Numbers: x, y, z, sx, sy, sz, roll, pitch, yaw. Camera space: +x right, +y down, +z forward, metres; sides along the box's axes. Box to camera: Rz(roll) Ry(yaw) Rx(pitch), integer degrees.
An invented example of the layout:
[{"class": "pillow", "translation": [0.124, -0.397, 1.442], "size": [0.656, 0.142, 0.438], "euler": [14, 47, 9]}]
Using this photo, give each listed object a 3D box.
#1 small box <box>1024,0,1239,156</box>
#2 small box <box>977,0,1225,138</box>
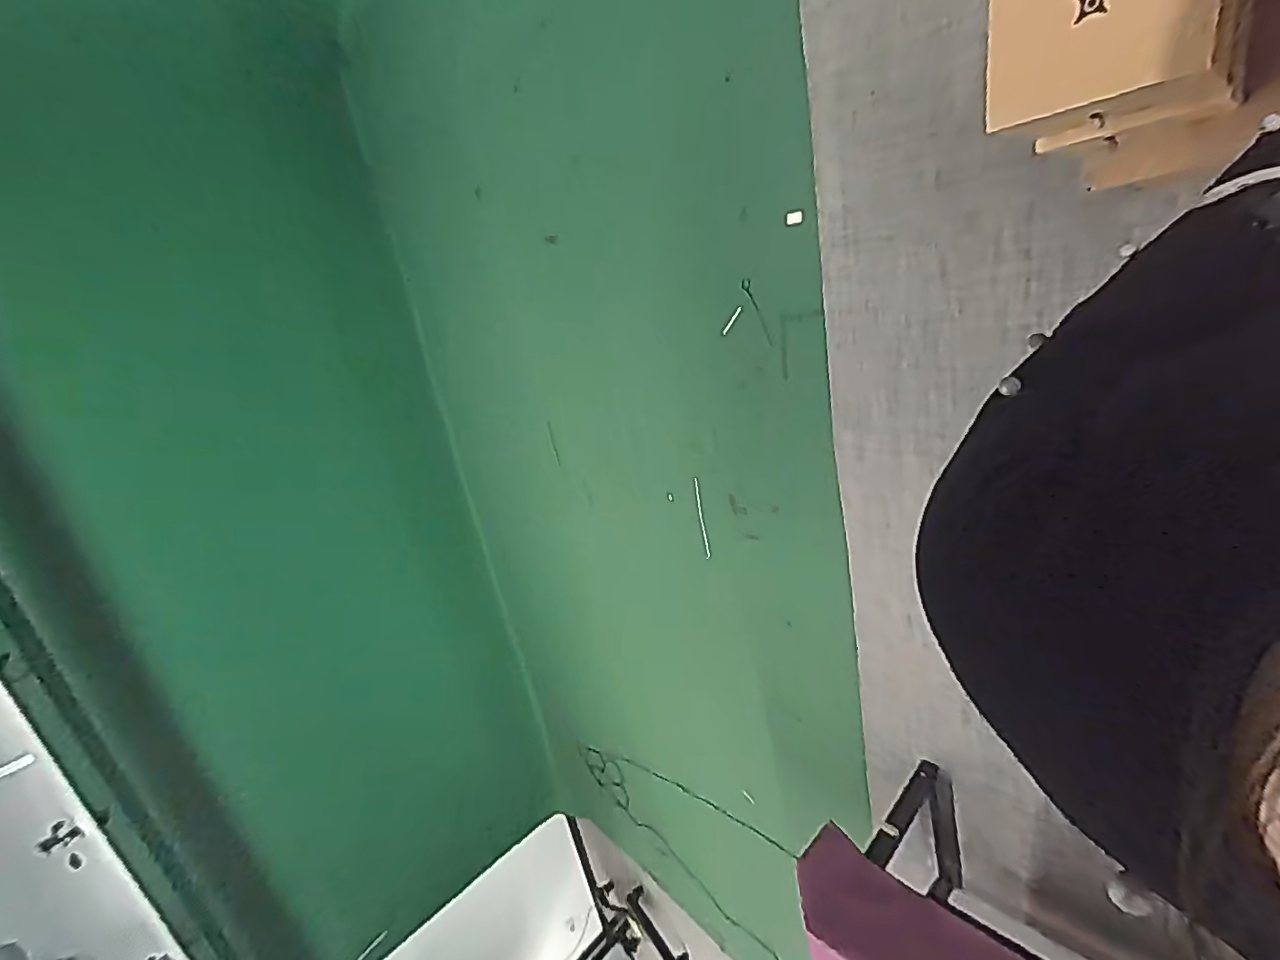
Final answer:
[{"class": "small box", "translation": [0.576, -0.502, 0.636], "size": [0.168, 0.176, 0.179], "euler": [10, 117, 46]}, {"class": "small box", "translation": [0.456, -0.458, 0.533], "size": [0.168, 0.176, 0.179], "euler": [12, 119, 45]}]
